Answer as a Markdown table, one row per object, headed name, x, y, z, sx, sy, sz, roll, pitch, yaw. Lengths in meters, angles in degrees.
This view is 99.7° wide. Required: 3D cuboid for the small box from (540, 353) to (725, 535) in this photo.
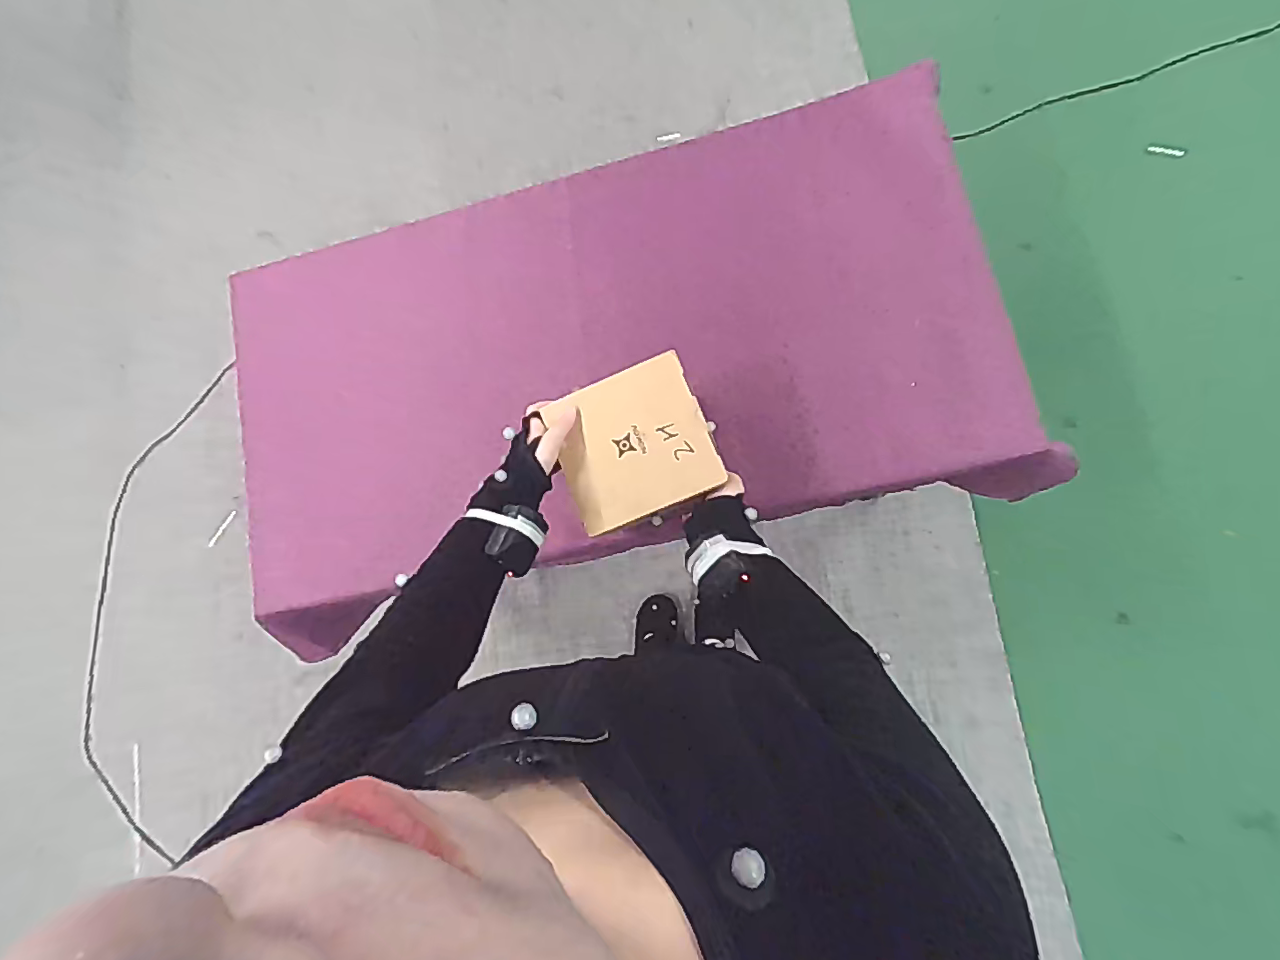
| name | x | y | z | sx | sy | sz | roll | pitch | yaw |
| --- | --- | --- | --- | --- | --- | --- | --- | --- | --- |
| small box | -0.001 | -0.036 | 0.699 | 0.179 | 0.176 | 0.168 | -23 | 85 | 5 |
